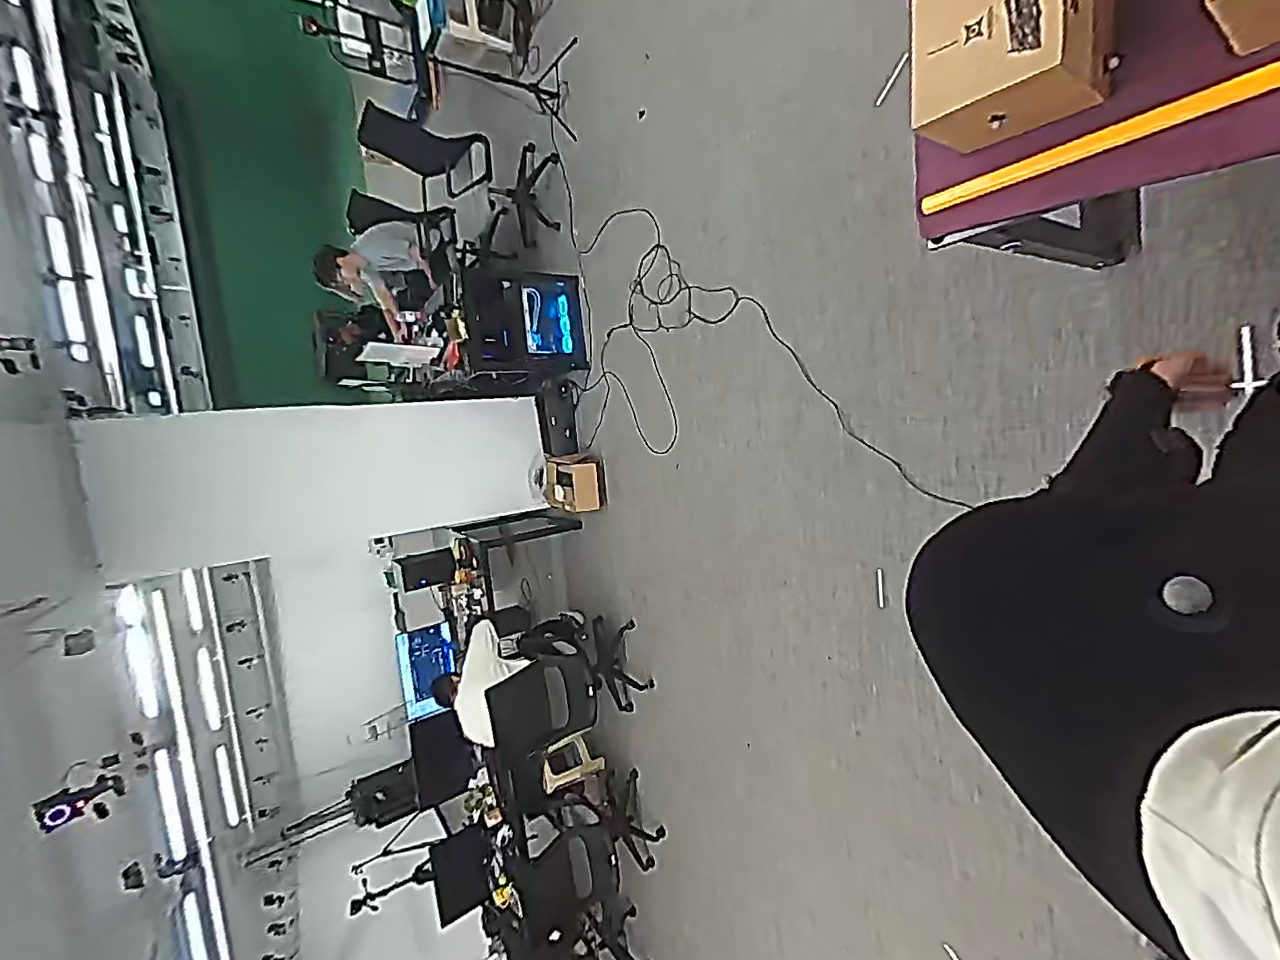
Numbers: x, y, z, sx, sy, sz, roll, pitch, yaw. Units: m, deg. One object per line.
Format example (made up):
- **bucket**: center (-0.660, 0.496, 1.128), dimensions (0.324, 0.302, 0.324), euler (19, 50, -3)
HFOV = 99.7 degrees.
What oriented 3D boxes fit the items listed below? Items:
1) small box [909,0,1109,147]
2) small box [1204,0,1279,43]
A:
- **small box**: center (0.479, -0.565, 0.704), dimensions (0.179, 0.176, 0.168), euler (9, 106, 55)
- **small box**: center (0.641, -0.538, 0.473), dimensions (0.179, 0.176, 0.168), euler (7, 104, 56)
